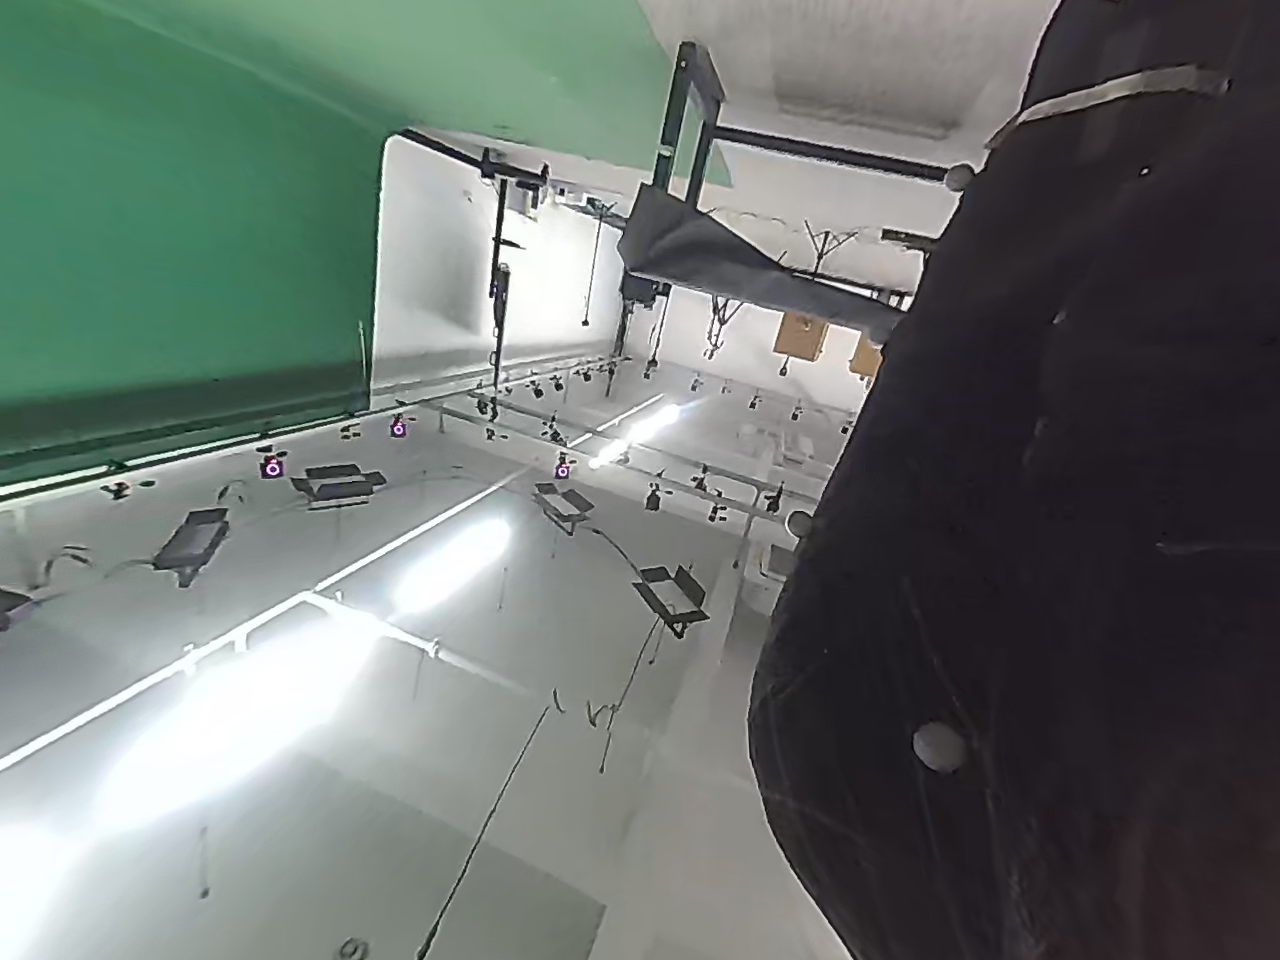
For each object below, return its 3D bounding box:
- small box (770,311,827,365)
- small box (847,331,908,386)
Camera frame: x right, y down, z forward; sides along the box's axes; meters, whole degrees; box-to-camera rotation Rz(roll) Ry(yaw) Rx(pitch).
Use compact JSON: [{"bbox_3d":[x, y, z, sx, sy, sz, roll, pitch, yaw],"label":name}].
[{"bbox_3d":[0.630,-0.564,2.133,0.168,0.176,0.179,19,-160,18],"label":"small box"},{"bbox_3d":[0.910,-0.473,2.076,0.168,0.176,0.179,18,-158,12],"label":"small box"}]
